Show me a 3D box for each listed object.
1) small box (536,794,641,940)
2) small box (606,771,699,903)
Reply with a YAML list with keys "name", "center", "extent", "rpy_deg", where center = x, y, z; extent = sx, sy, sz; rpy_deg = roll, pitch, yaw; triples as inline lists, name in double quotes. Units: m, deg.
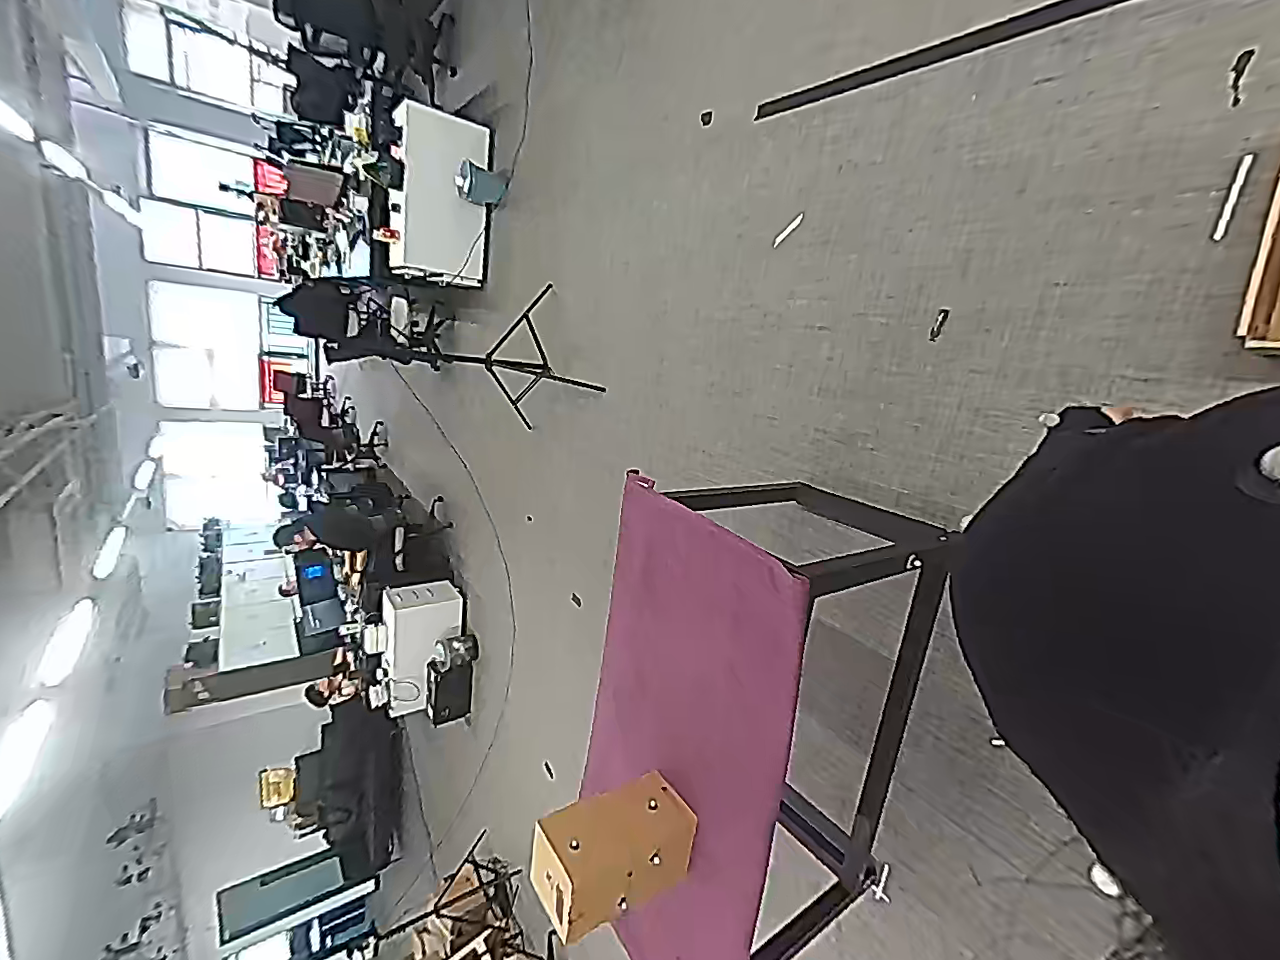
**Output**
- name: "small box"
  center: [-0.116, 0.847, 1.206]
  extent: [0.179, 0.176, 0.168]
  rpy_deg: [25, 112, 51]
- name: "small box"
  center: [0.021, 0.842, 1.297]
  extent: [0.168, 0.176, 0.179]
  rpy_deg: [27, 114, 50]
